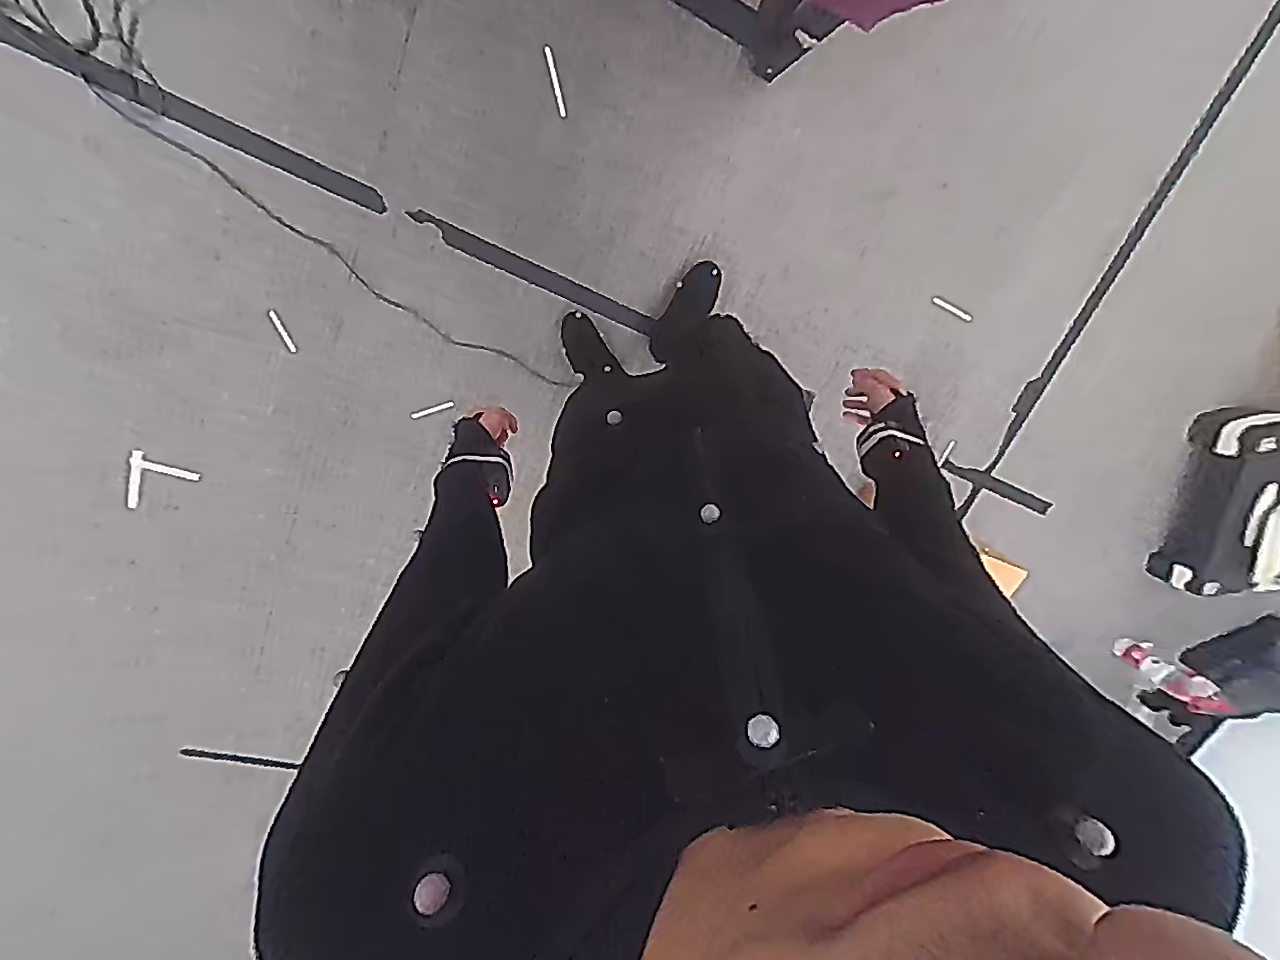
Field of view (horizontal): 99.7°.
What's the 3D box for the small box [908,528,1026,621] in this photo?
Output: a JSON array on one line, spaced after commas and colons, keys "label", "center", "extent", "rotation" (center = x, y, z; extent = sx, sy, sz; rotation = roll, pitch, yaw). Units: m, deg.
[{"label": "small box", "center": [0.890, 0.254, 1.486], "extent": [0.179, 0.176, 0.168], "rotation": [19, 108, -16]}]
